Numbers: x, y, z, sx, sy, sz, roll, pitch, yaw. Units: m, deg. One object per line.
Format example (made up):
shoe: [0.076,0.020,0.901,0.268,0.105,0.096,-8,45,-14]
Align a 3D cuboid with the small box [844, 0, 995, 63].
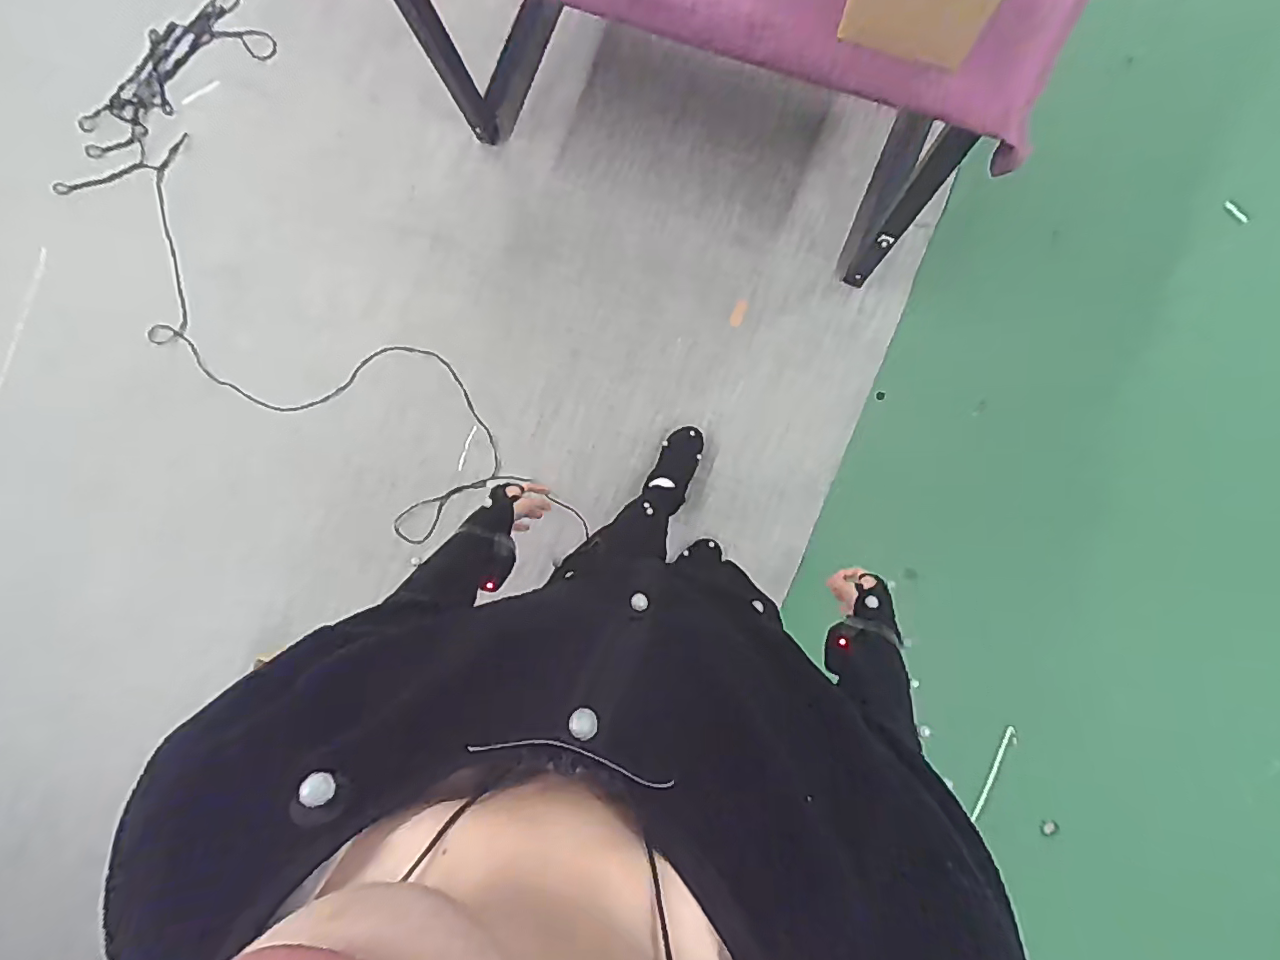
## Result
small box: [0.385,-0.683,0.686,0.179,0.176,0.168,21,91,5]
